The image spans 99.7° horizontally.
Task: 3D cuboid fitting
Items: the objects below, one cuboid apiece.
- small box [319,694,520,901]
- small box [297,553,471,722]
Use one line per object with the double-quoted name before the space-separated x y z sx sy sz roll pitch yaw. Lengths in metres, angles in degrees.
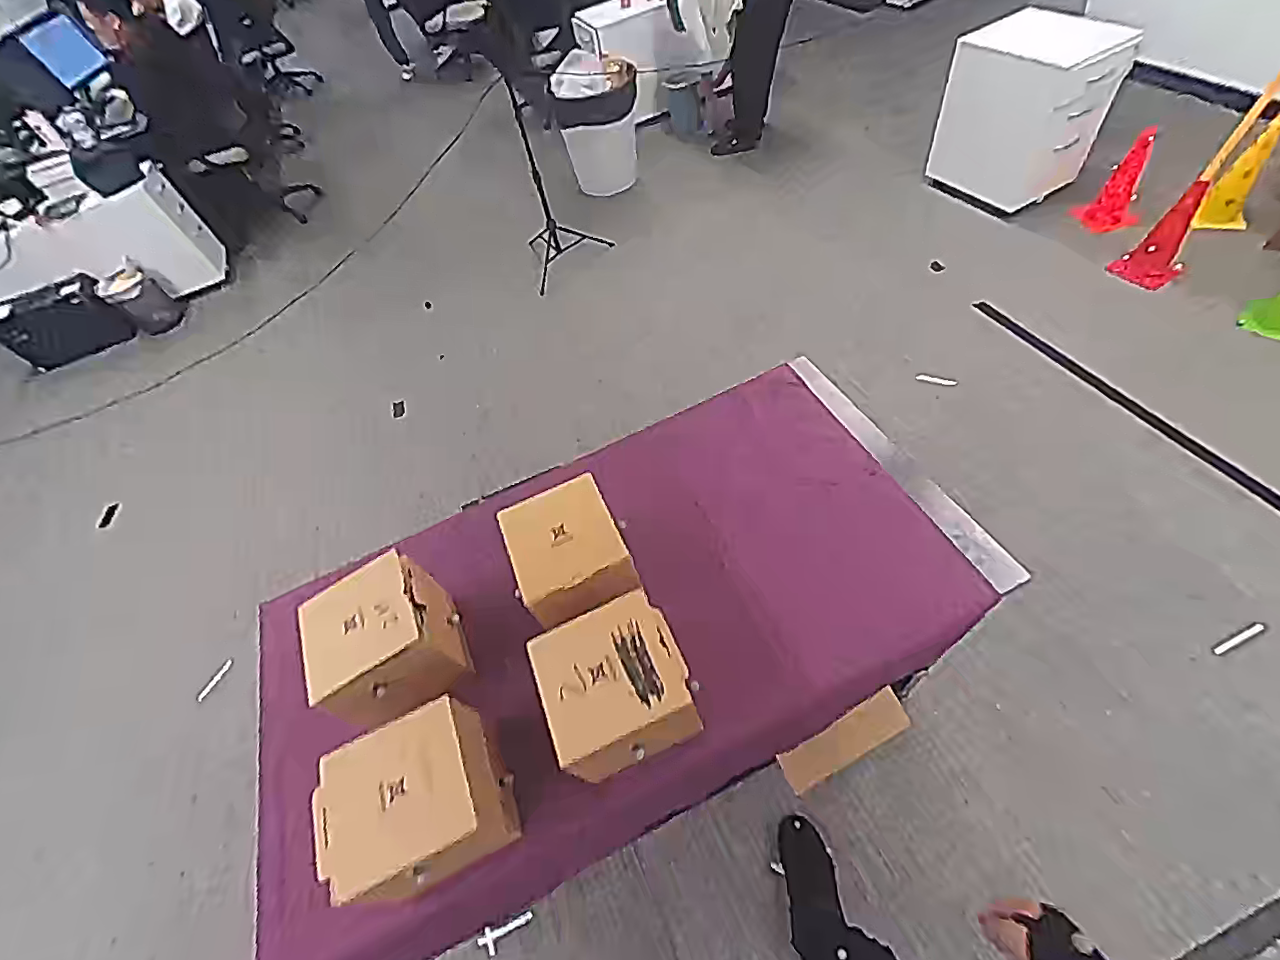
"small box" -0.283 0.416 0.711 0.179 0.176 0.168 -25 55 -8
"small box" -0.395 0.252 0.847 0.179 0.176 0.168 -27 55 -9
